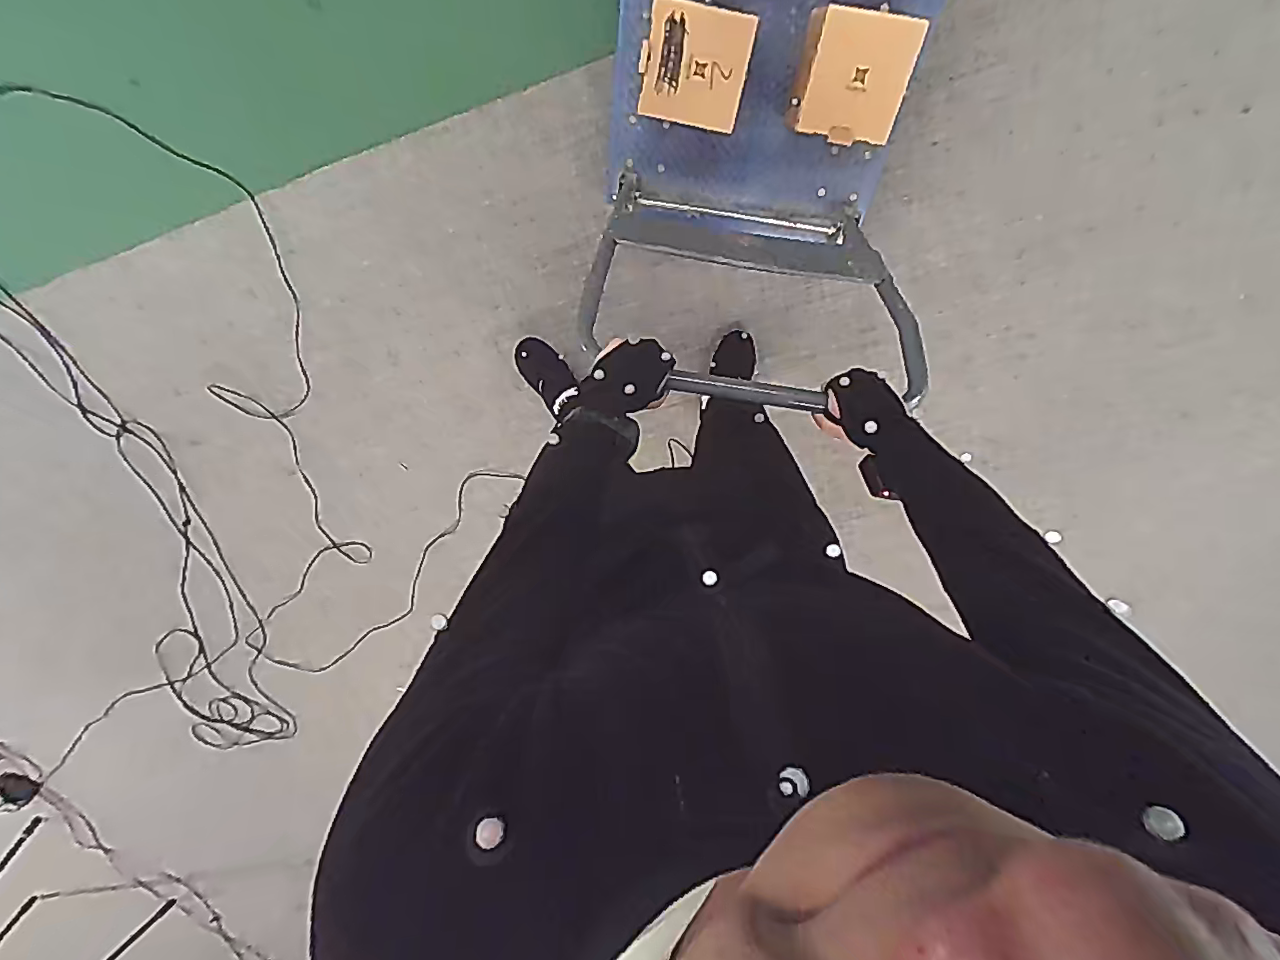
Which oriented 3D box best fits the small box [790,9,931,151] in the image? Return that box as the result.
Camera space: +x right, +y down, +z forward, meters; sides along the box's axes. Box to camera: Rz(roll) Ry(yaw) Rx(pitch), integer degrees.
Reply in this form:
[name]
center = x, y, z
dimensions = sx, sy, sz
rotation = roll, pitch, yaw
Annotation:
[small box]
center = 0.381, -0.720, 0.976
dimensions = 0.168, 0.176, 0.179
rotation = 9, 130, -1
